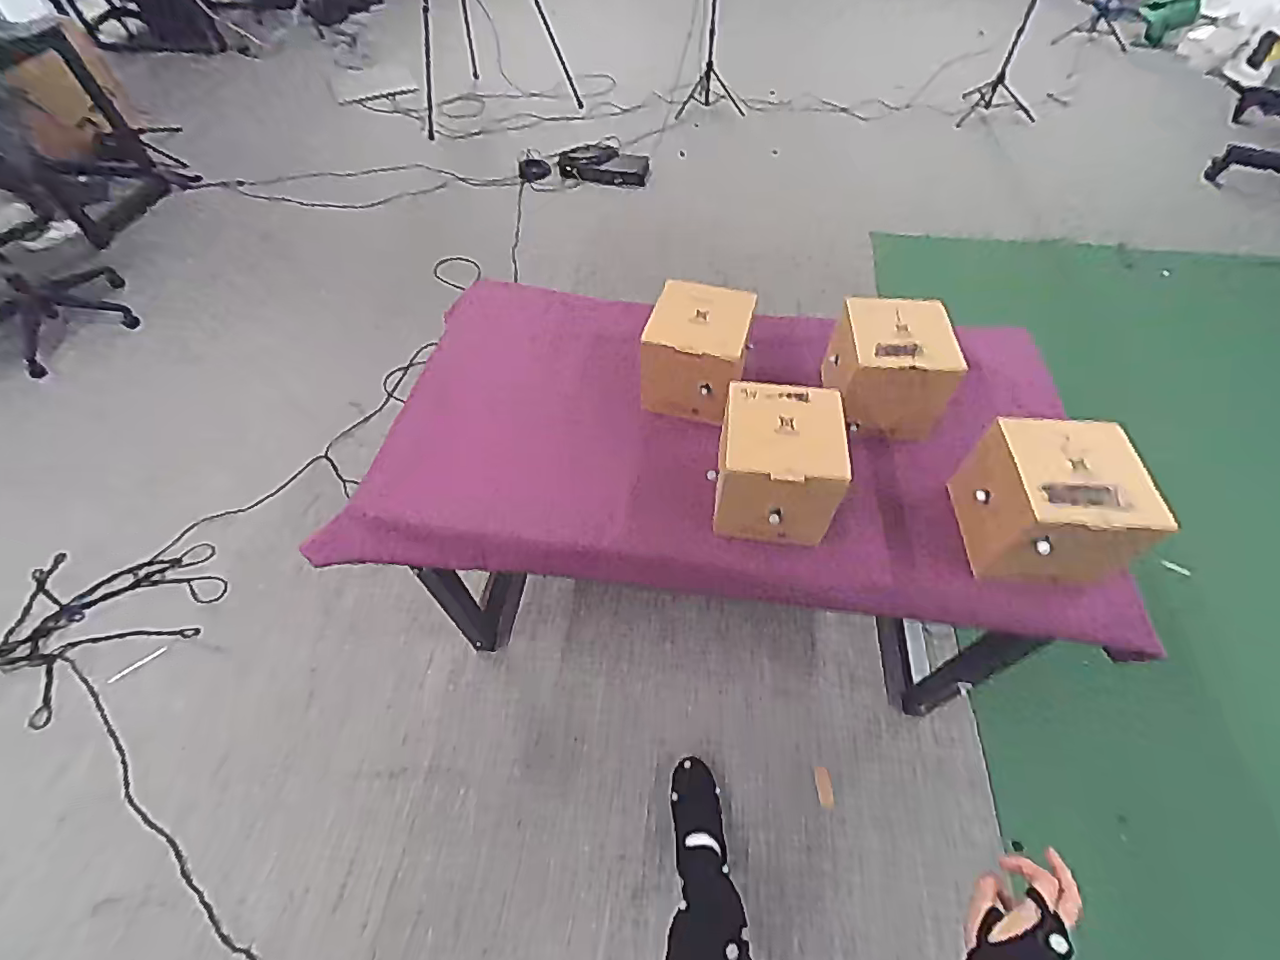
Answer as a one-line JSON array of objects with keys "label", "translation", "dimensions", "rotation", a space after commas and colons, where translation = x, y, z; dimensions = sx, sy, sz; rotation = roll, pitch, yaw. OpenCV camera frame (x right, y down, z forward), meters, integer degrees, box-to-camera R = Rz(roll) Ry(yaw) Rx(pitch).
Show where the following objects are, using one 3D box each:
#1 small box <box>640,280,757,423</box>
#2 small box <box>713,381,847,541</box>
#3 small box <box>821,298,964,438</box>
[{"label": "small box", "translation": [0.104, -0.228, 0.976], "dimensions": [0.168, 0.176, 0.179], "rotation": [14, 56, 10]}, {"label": "small box", "translation": [0.204, -0.025, 0.823], "dimensions": [0.168, 0.176, 0.179], "rotation": [6, 53, 5]}, {"label": "small box", "translation": [0.425, -0.192, 0.943], "dimensions": [0.168, 0.176, 0.179], "rotation": [5, 53, 4]}]
